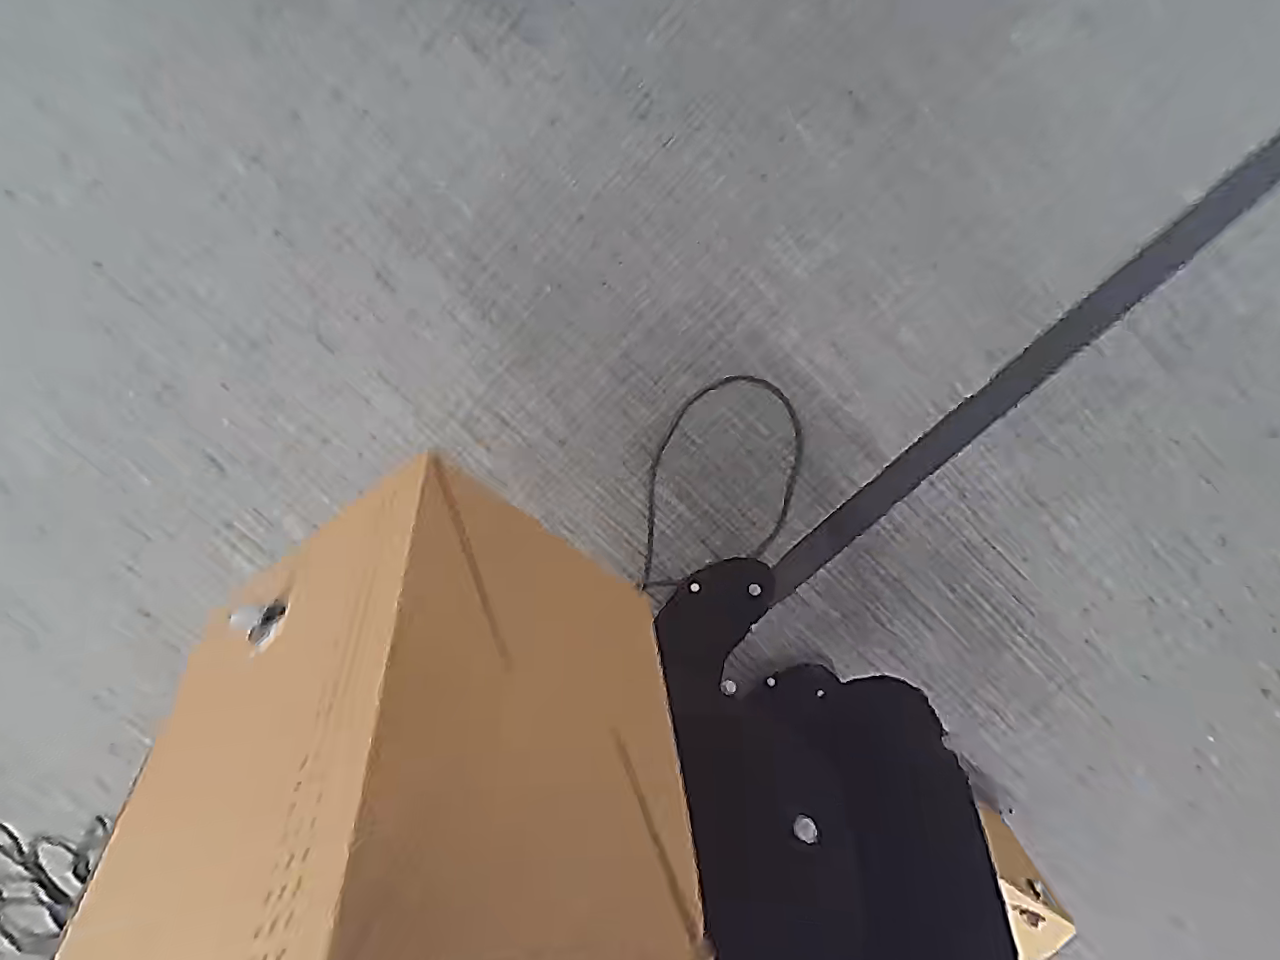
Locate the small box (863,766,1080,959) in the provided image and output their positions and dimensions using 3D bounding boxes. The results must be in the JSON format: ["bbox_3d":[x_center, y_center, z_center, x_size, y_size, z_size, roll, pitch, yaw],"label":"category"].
[{"bbox_3d":[0.445,0.558,0.768,0.168,0.176,0.179,33,105,-5],"label":"small box"}]
